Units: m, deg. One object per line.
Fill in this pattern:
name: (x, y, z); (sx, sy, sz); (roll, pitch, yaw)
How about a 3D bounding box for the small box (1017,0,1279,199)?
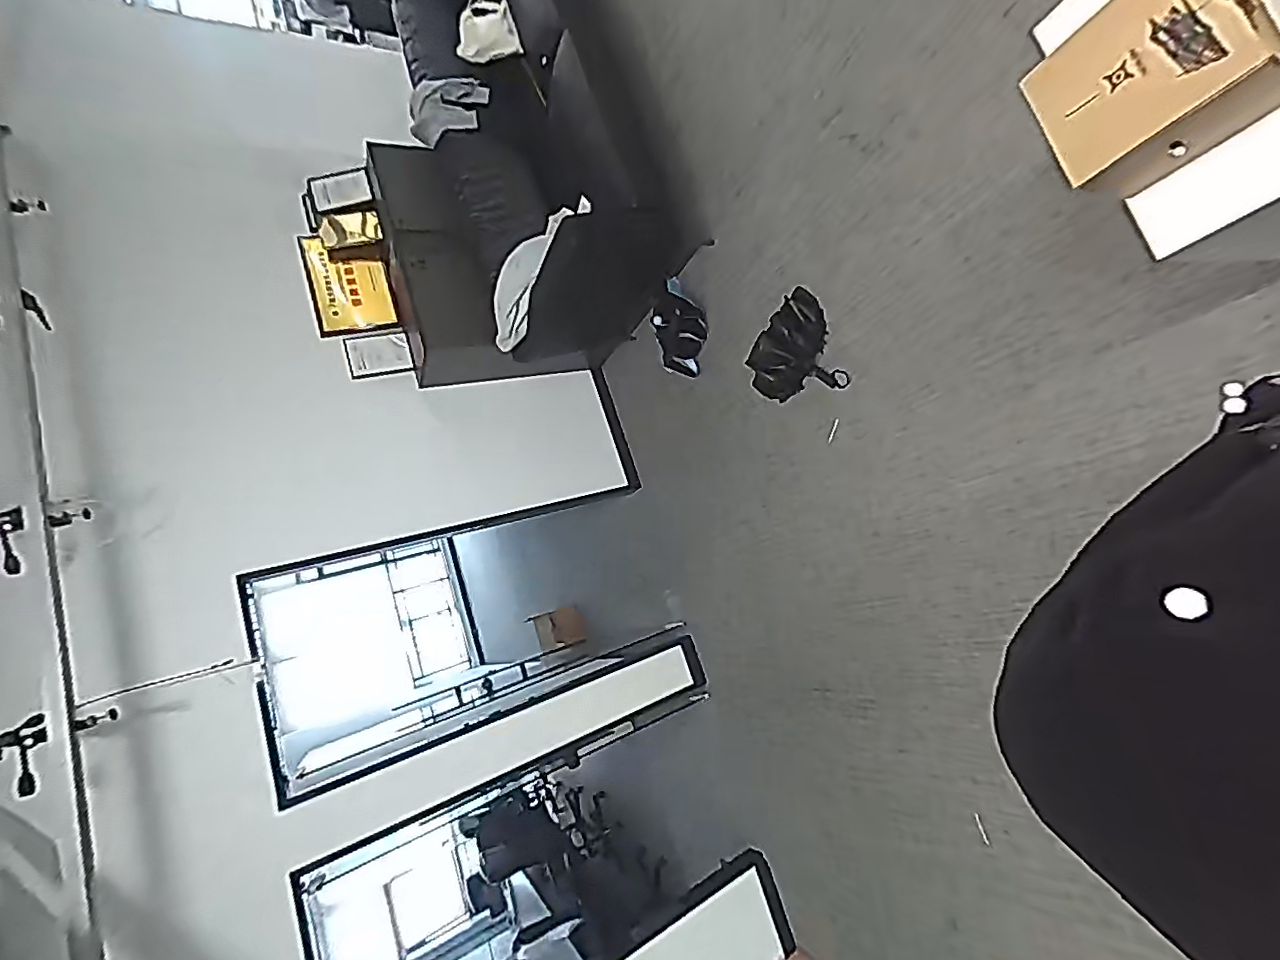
small box: (0.613, -0.469, 0.650); (0.179, 0.176, 0.168); (-34, 71, 59)
